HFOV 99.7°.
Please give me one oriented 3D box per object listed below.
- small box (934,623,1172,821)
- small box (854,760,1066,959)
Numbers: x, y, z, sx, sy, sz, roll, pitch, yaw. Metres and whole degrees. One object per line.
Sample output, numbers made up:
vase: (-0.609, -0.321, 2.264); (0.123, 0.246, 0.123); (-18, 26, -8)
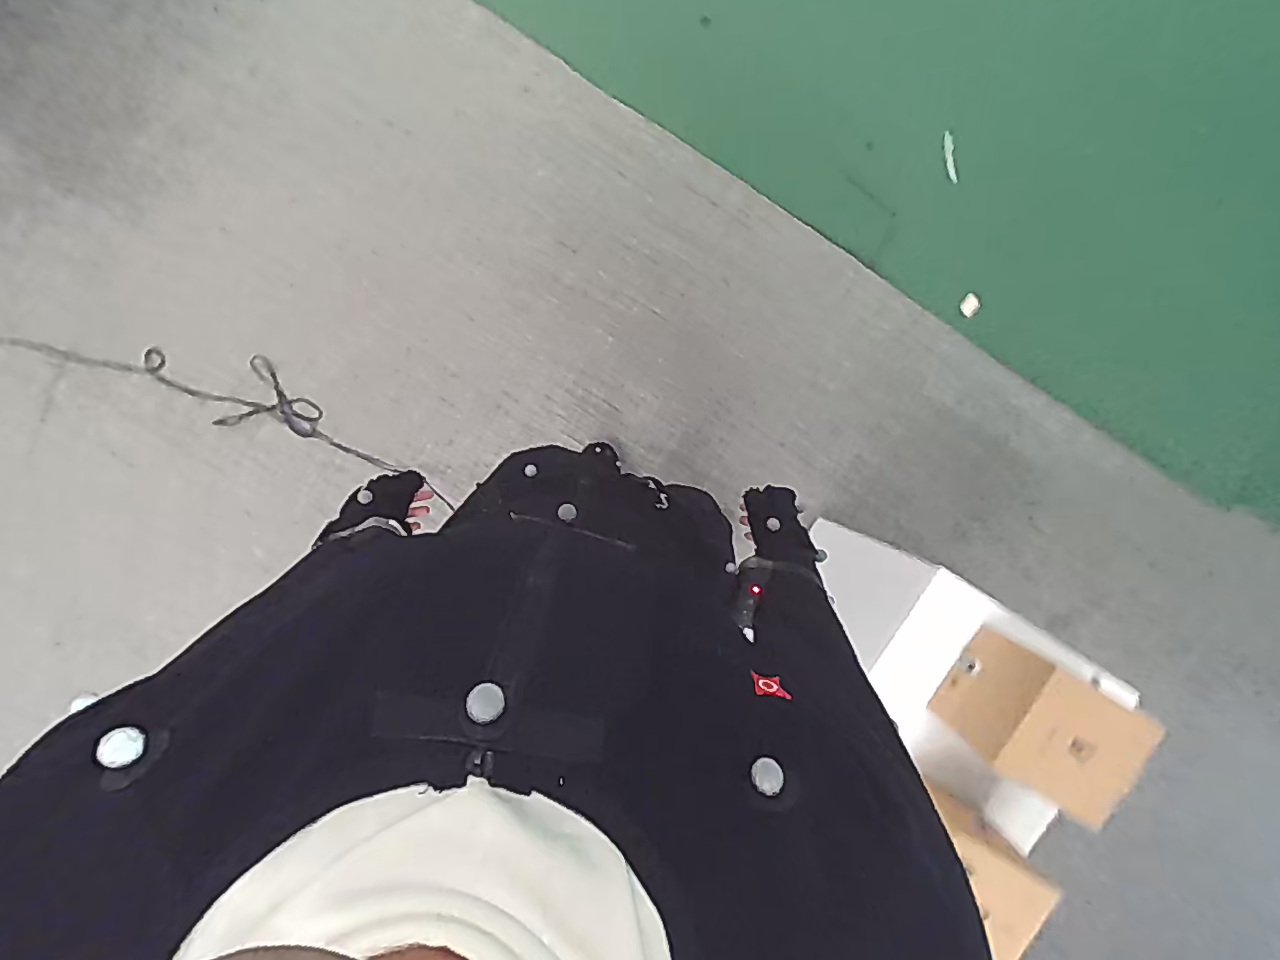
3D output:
small box: (0.581, 0.335, 0.787); (0.179, 0.176, 0.168); (30, 94, -1)
small box: (0.456, 0.557, 0.804); (0.179, 0.176, 0.168); (32, 94, -3)
